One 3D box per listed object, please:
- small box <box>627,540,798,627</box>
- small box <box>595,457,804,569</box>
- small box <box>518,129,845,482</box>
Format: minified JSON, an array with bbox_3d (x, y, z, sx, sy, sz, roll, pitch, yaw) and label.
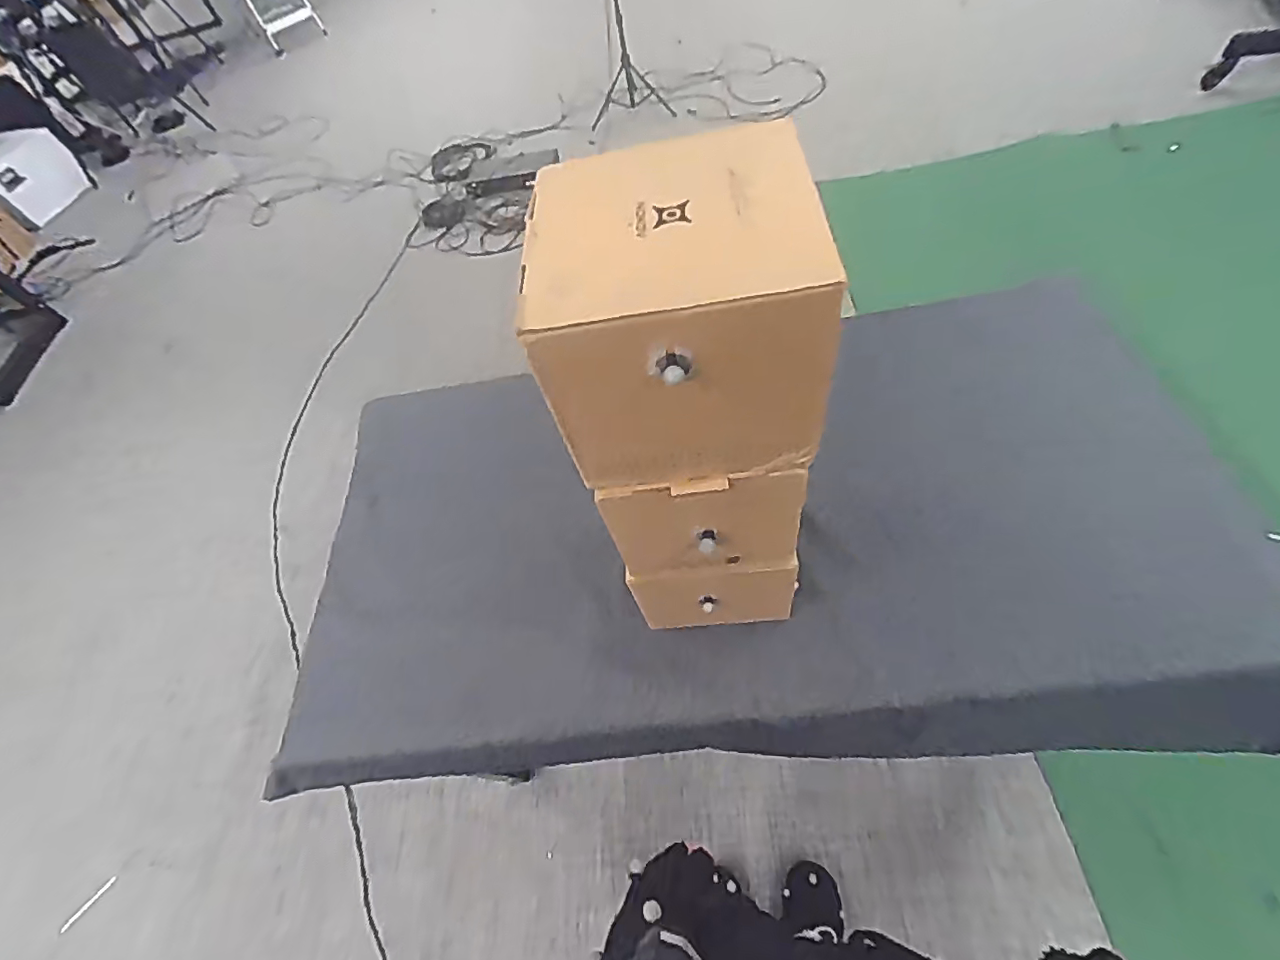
[{"bbox_3d":[0.084,0.071,0.655,0.179,0.176,0.168,-7,57,8],"label":"small box"},{"bbox_3d":[0.056,-0.023,0.524,0.168,0.176,0.179,-7,57,7],"label":"small box"},{"bbox_3d":[0.030,-0.111,0.390,0.179,0.176,0.168,-6,58,7],"label":"small box"}]
